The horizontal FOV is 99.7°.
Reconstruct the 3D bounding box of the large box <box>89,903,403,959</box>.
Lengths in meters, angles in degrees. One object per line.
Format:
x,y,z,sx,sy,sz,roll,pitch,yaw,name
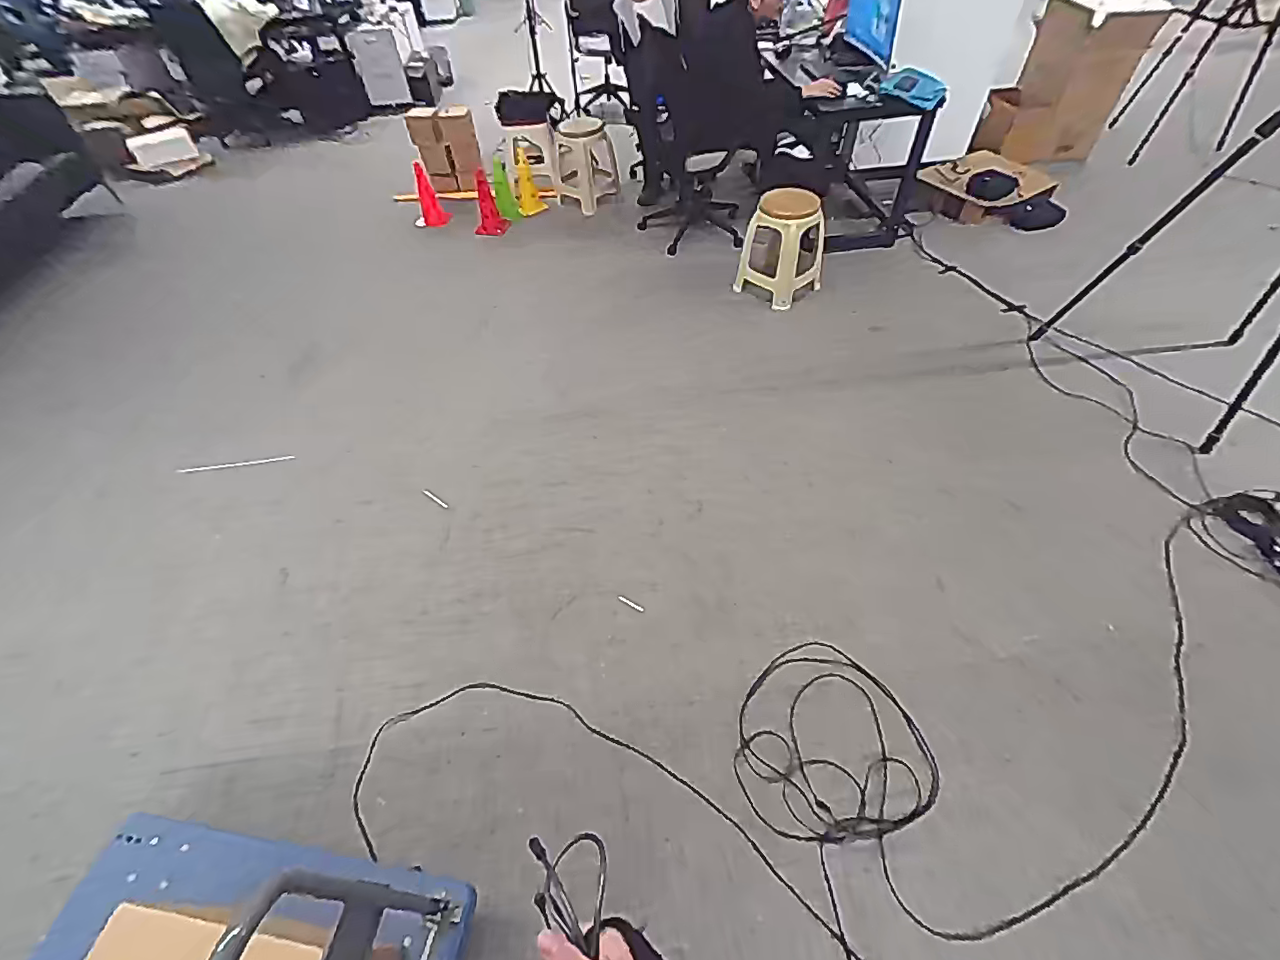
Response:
-0.700,0.948,0.918,0.408,0.320,0.320,5,51,8,large box
